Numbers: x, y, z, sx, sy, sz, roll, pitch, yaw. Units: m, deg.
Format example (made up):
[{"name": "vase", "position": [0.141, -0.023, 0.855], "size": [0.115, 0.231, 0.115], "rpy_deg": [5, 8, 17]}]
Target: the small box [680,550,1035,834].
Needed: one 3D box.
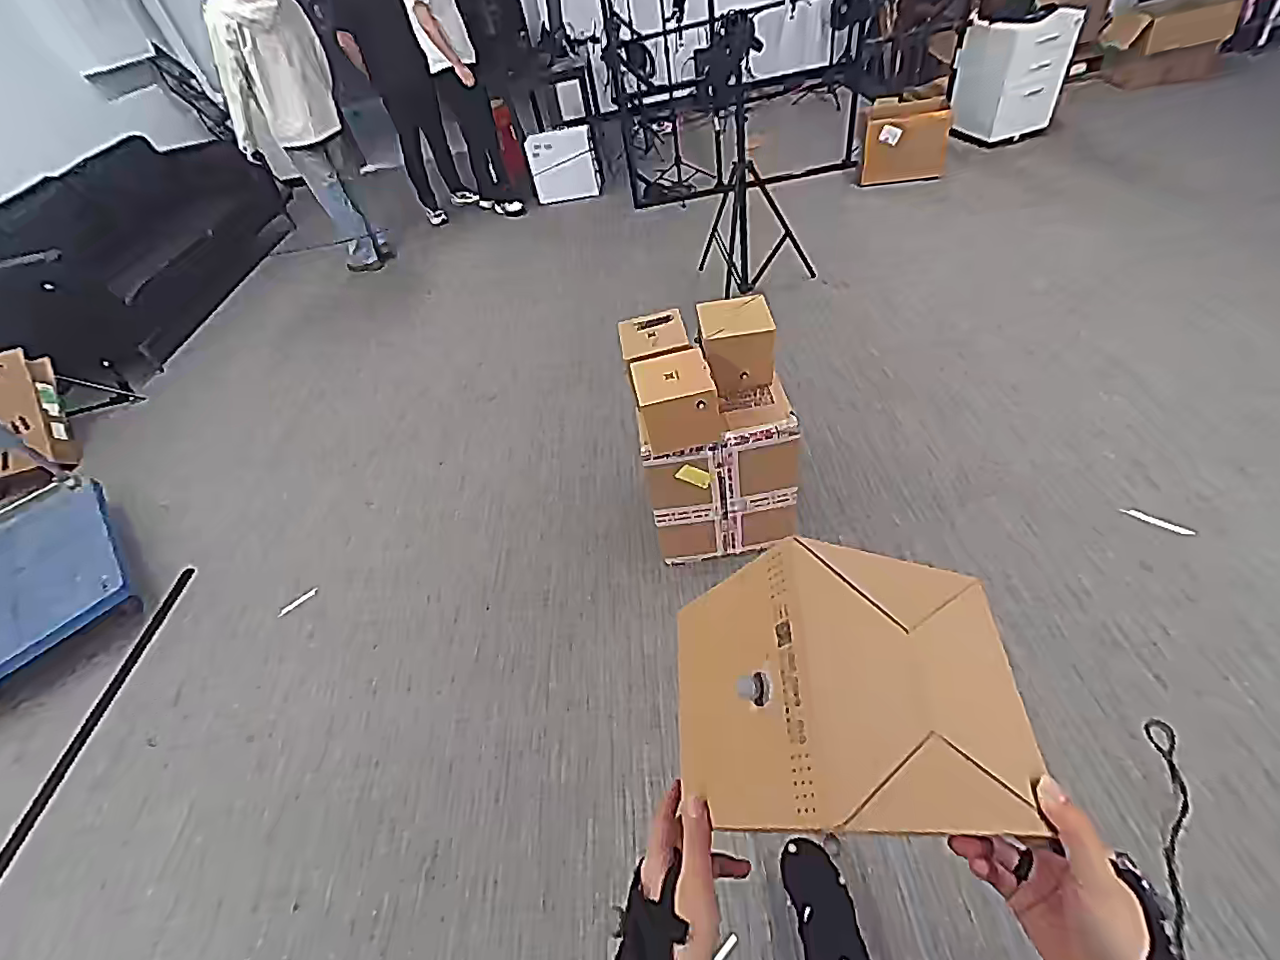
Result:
[{"name": "small box", "position": [0.146, 0.170, 0.412], "size": [0.179, 0.176, 0.168], "rpy_deg": [15, 54, -19]}]
